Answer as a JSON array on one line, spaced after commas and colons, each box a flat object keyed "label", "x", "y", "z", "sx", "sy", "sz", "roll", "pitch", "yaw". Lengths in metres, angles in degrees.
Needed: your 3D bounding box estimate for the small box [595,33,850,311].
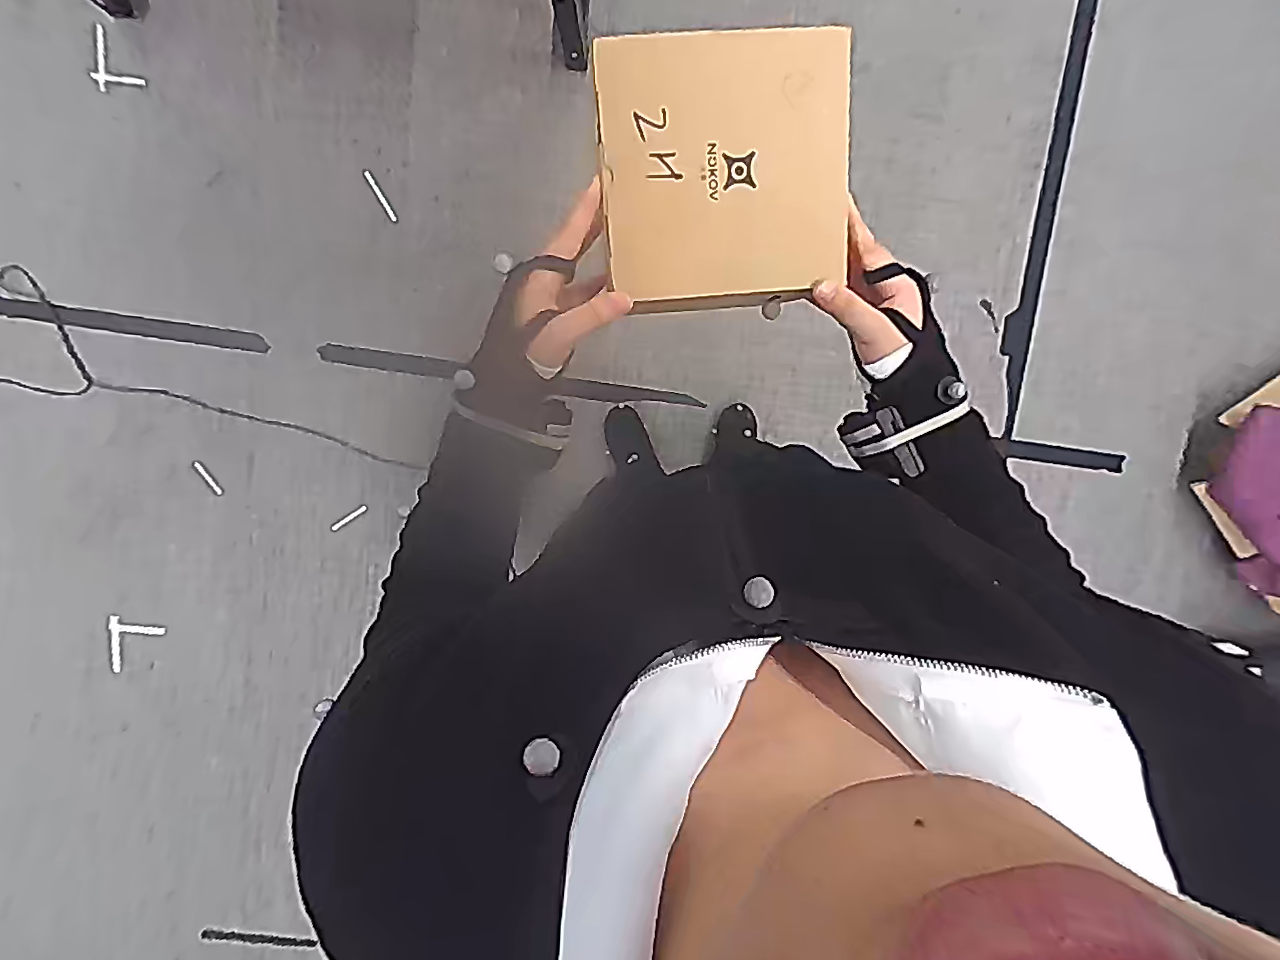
[{"label": "small box", "x": 0.054, "y": -0.236, "z": 0.457, "sx": 0.179, "sy": 0.176, "sz": 0.168, "roll": -5, "pitch": 104, "yaw": -3}]
